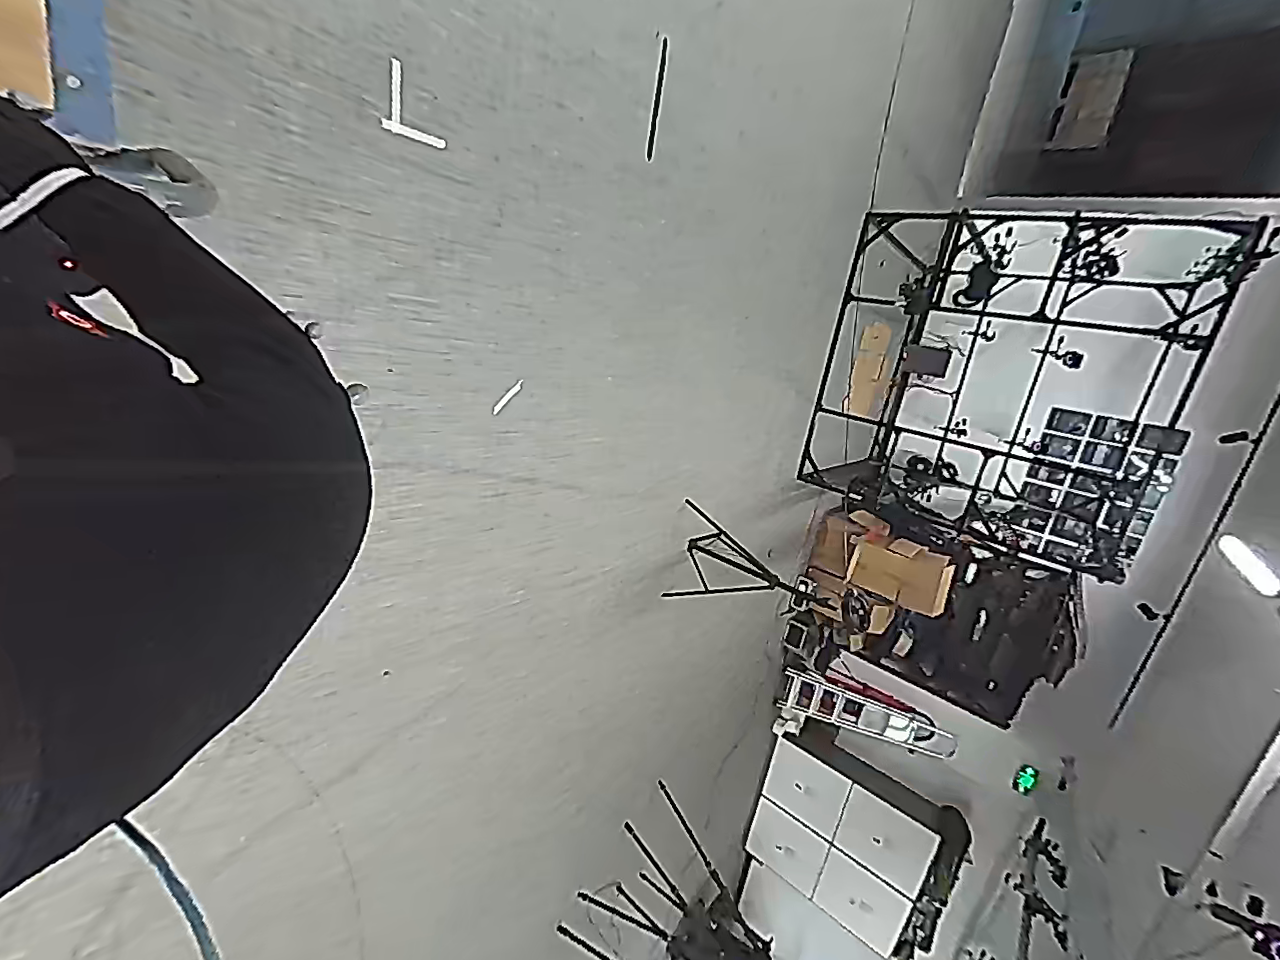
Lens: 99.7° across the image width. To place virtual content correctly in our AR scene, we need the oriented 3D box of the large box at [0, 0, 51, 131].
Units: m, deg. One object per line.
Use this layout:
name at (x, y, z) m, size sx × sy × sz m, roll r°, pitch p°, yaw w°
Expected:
large box at (-0.915, -0.592, 0.527) m, size 0.408 × 0.320 × 0.320 m, roll -12°, pitch 117°, yaw -52°
